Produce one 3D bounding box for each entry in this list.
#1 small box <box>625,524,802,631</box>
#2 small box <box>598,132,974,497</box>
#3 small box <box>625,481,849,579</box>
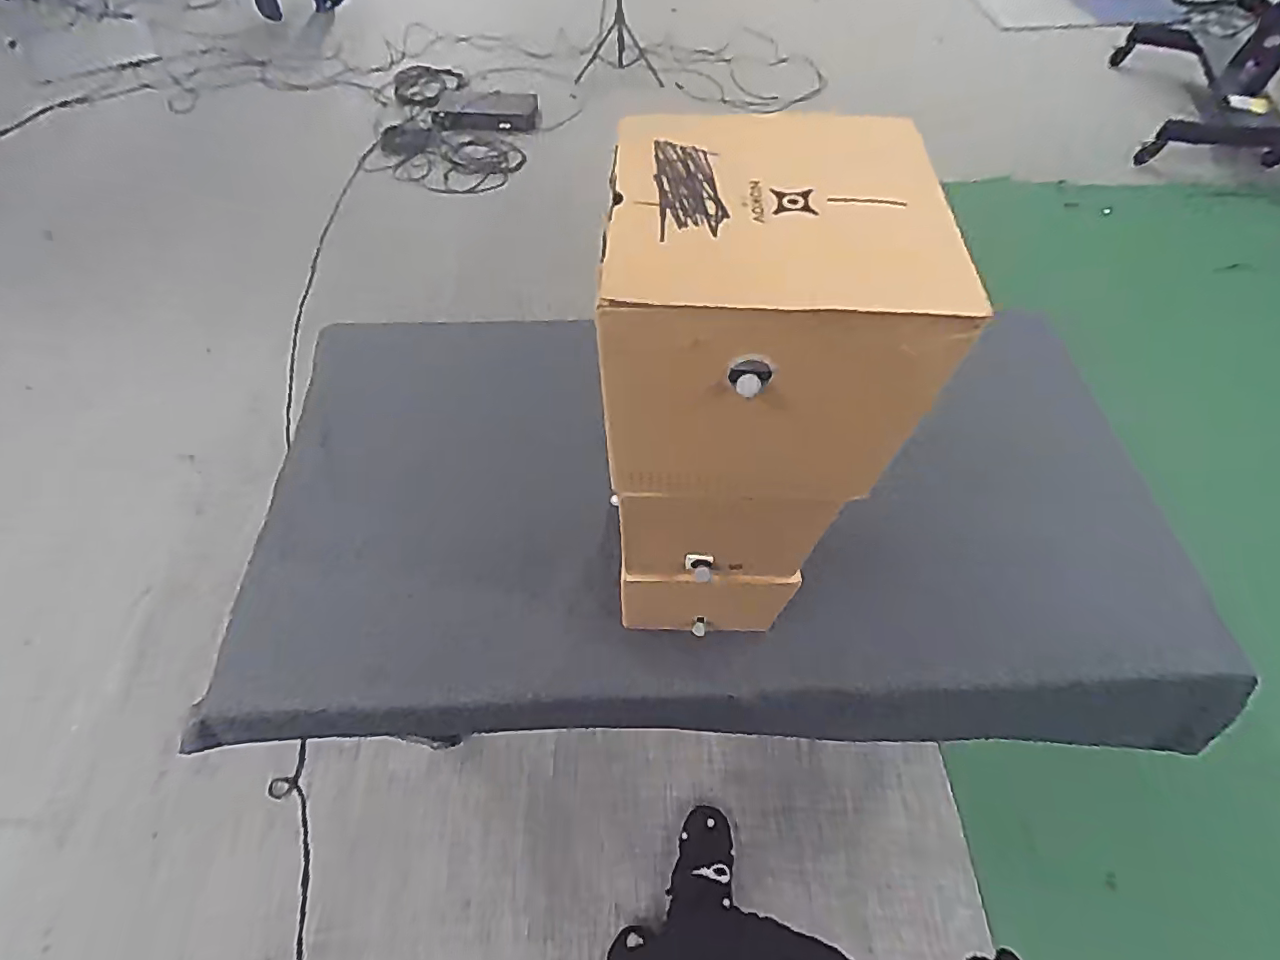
[{"bbox_3d":[0.072,0.073,0.636,0.179,0.176,0.168,1,58,-1],"label":"small box"},{"bbox_3d":[0.072,-0.099,0.358,0.179,0.176,0.168,2,59,2],"label":"small box"},{"bbox_3d":[0.071,-0.020,0.502,0.168,0.176,0.179,-1,60,1],"label":"small box"}]
